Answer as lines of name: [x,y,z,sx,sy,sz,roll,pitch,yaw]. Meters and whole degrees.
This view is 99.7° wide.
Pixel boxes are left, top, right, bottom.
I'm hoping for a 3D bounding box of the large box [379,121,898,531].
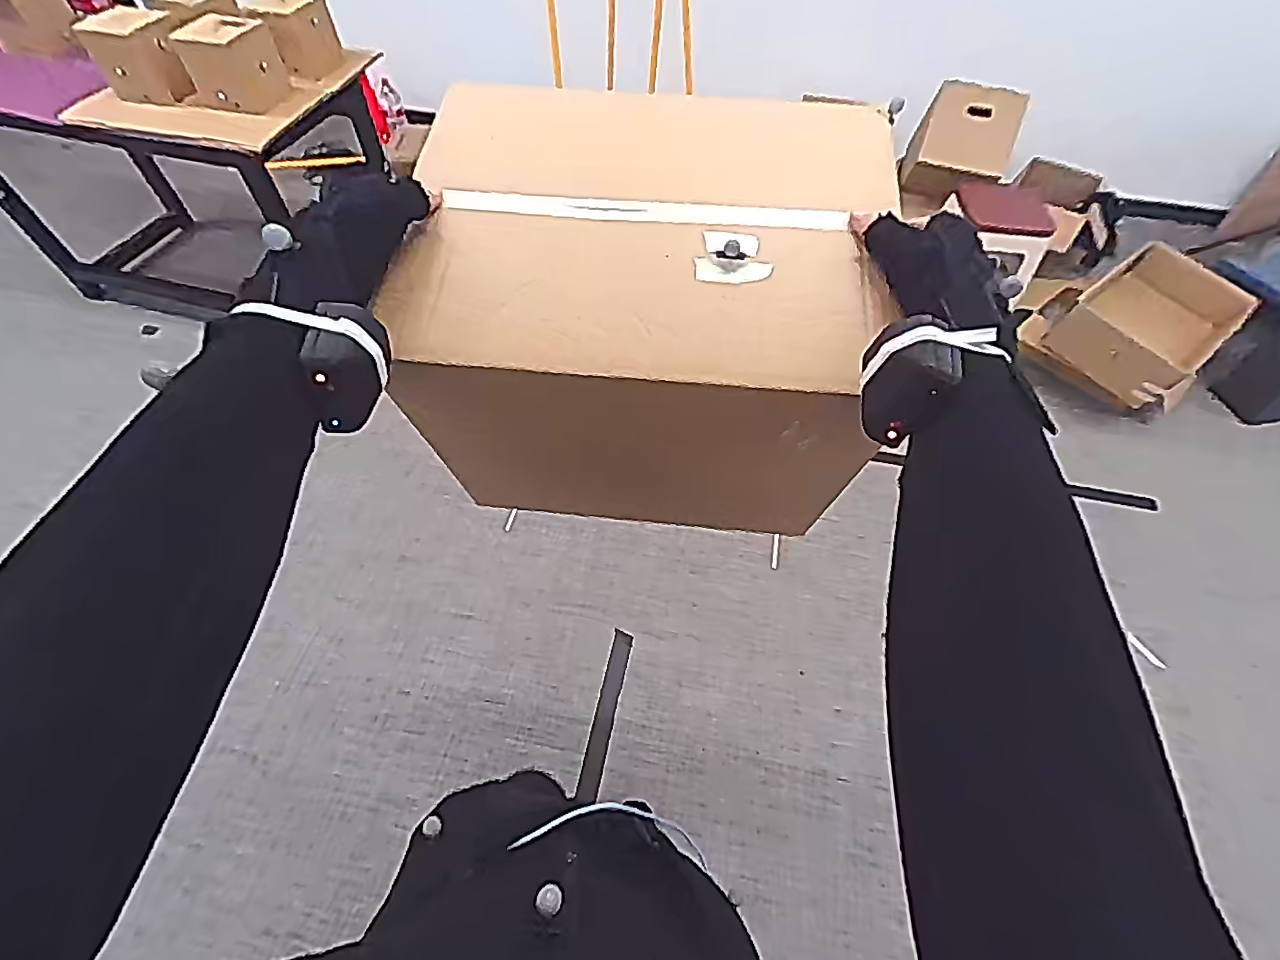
large box: [0.005,-0.143,0.602,0.408,0.320,0.320,4,67,2]
